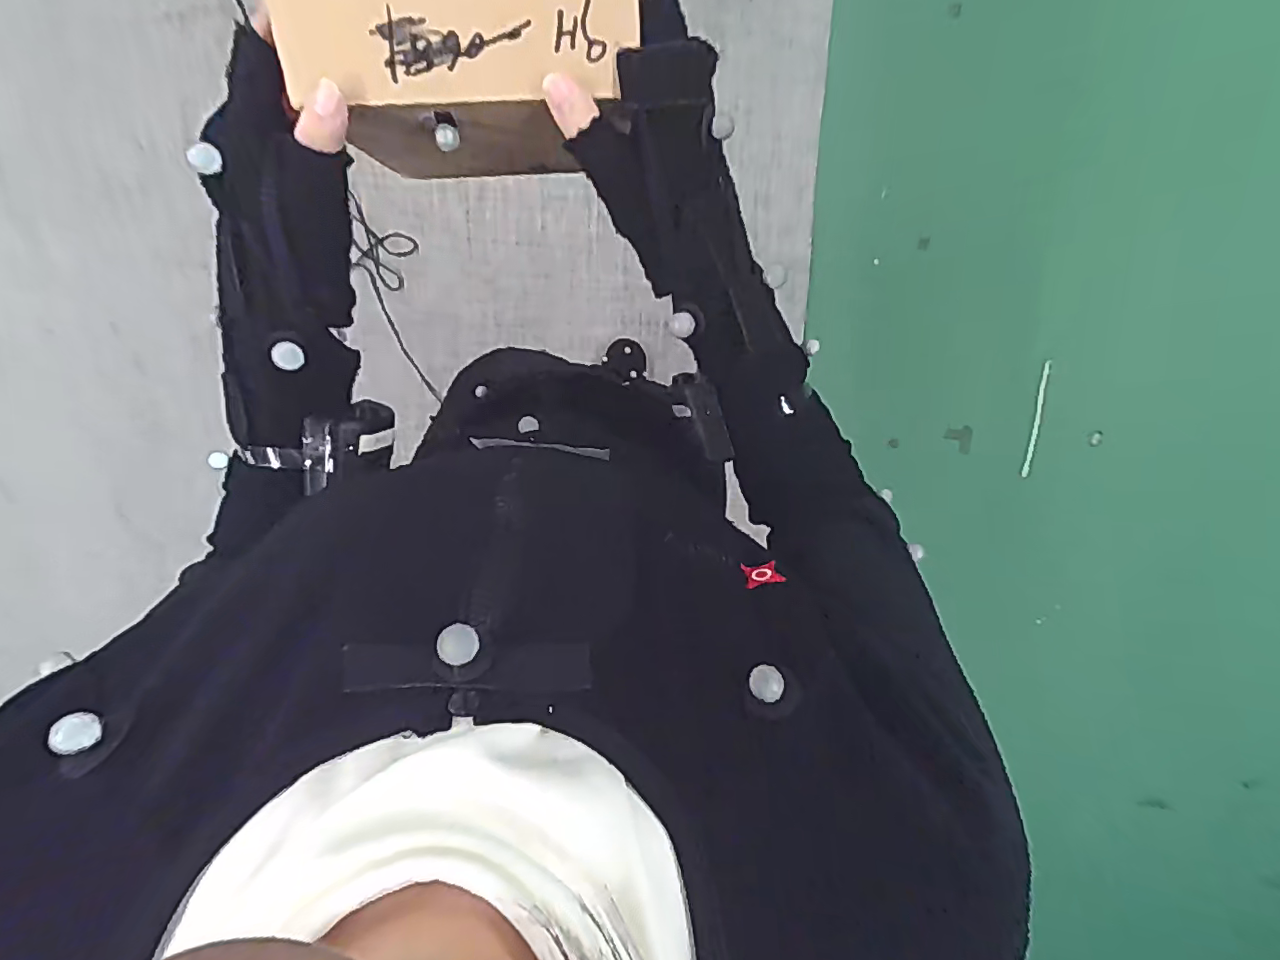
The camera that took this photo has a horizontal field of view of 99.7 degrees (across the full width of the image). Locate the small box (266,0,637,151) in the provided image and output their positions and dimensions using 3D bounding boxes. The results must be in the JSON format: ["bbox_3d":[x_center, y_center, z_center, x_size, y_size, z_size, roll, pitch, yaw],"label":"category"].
[{"bbox_3d":[-0.095,-0.305,0.298,0.168,0.176,0.179,-5,109,-4],"label":"small box"}]
